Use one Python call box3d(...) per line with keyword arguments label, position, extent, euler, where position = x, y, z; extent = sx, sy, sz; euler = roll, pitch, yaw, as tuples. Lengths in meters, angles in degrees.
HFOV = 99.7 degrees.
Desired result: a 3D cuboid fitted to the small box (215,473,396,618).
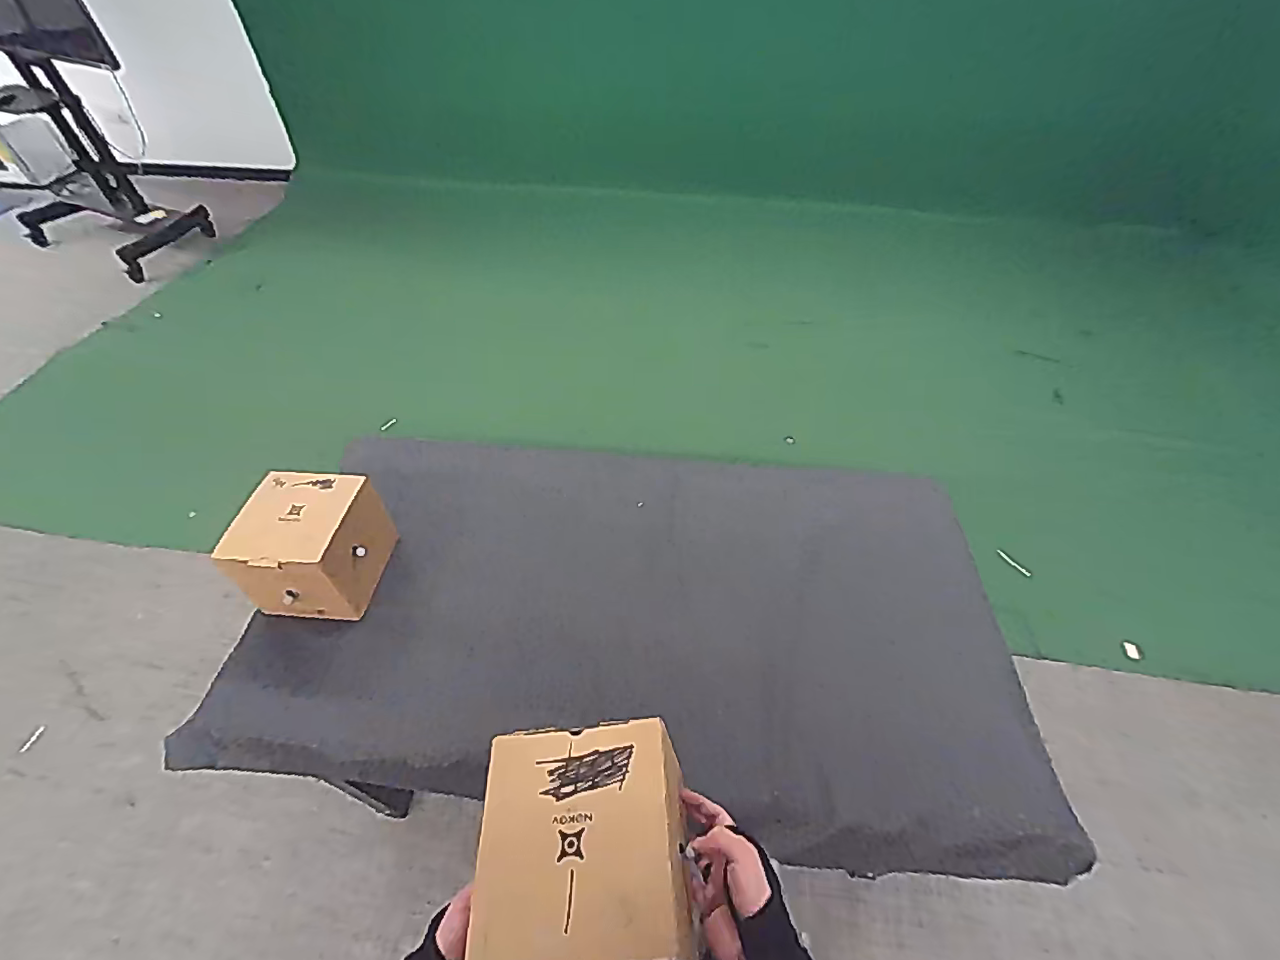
box3d(label="small box", position=(-0.532, 0.112, 0.894), extent=(0.168, 0.176, 0.179), euler=(4, 49, 2))
